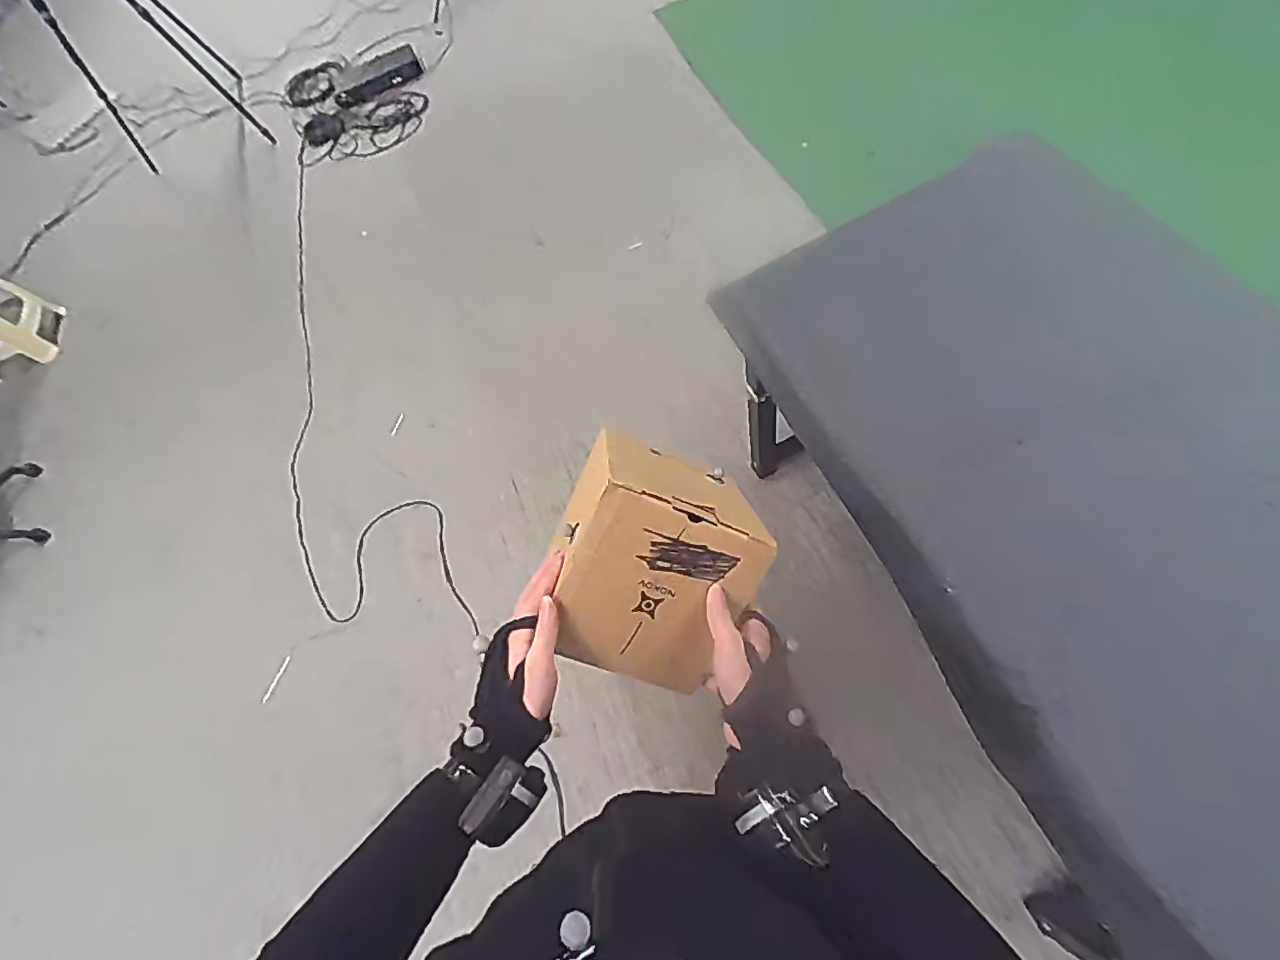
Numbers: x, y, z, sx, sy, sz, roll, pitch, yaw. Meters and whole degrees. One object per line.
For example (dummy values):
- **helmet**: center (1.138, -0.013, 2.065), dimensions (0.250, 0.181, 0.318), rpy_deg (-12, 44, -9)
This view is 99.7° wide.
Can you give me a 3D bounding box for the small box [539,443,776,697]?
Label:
- **small box**: center (0.007, 0.081, 0.562), dimensions (0.168, 0.176, 0.179), rpy_deg (22, 107, -12)
